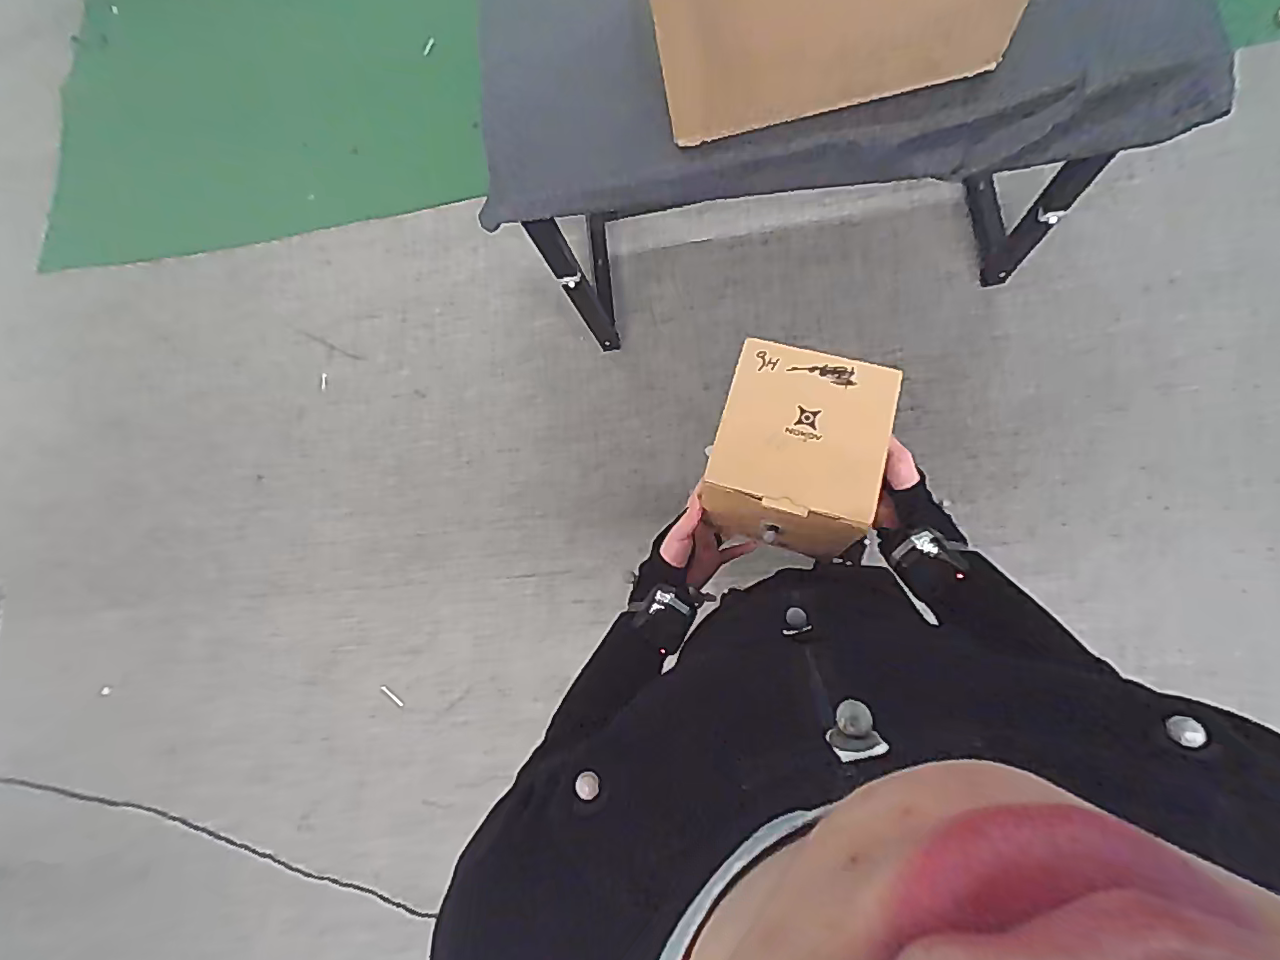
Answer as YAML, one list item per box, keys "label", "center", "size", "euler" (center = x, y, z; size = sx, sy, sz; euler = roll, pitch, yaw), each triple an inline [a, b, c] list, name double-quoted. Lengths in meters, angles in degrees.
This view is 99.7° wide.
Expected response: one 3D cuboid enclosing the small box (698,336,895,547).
- label: "small box"
  center: [0.169, -0.033, 0.625]
  size: [0.168, 0.176, 0.179]
  euler: [15, 74, 10]
